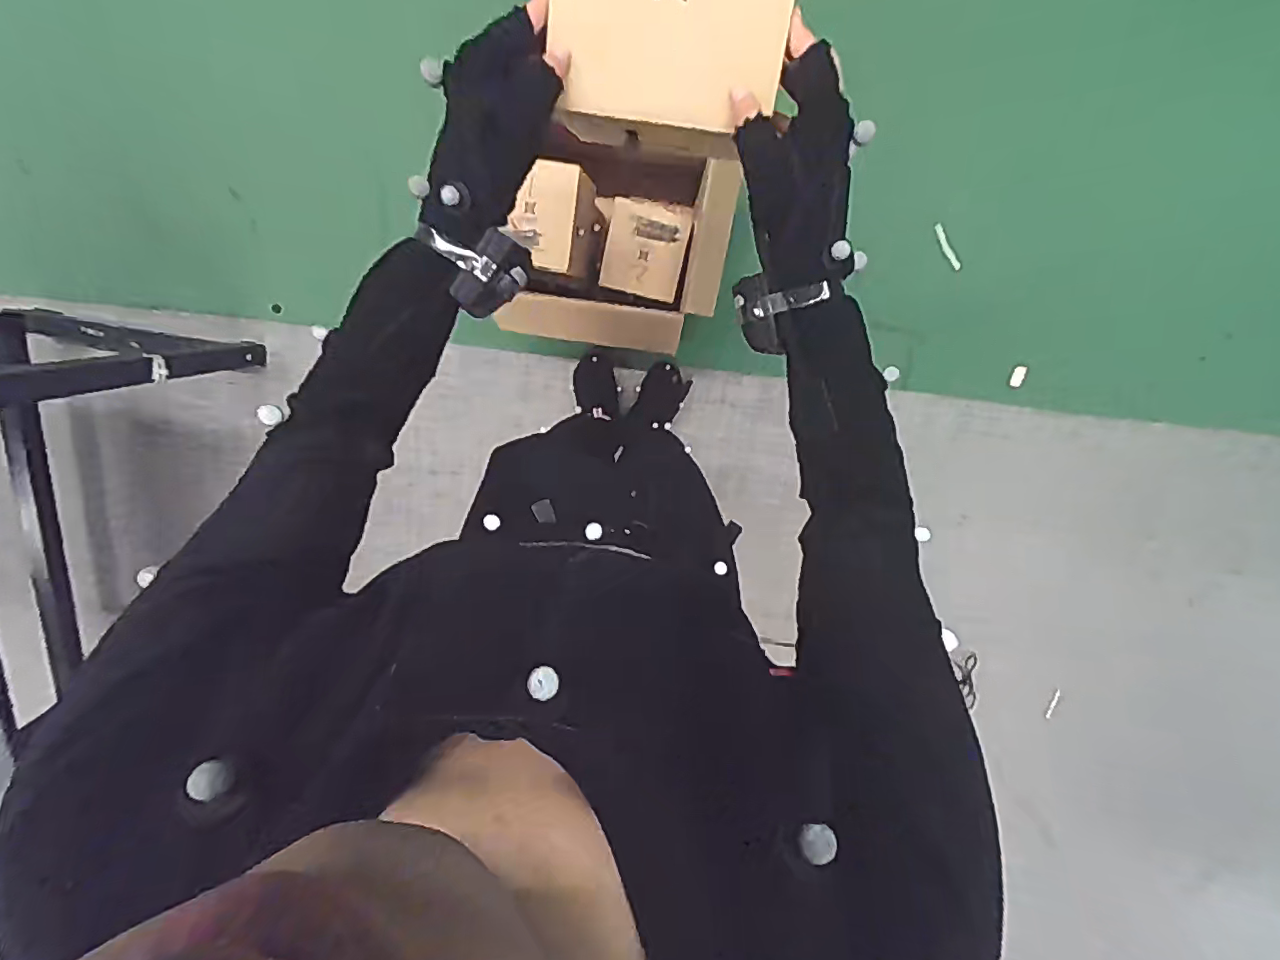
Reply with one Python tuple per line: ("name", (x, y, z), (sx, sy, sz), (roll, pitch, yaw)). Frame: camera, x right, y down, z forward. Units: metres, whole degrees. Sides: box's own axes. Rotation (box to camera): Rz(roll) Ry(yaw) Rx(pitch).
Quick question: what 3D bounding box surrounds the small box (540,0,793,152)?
("small box", (0.027, -0.367, 0.415), (0.168, 0.176, 0.179), (8, 116, 0))
